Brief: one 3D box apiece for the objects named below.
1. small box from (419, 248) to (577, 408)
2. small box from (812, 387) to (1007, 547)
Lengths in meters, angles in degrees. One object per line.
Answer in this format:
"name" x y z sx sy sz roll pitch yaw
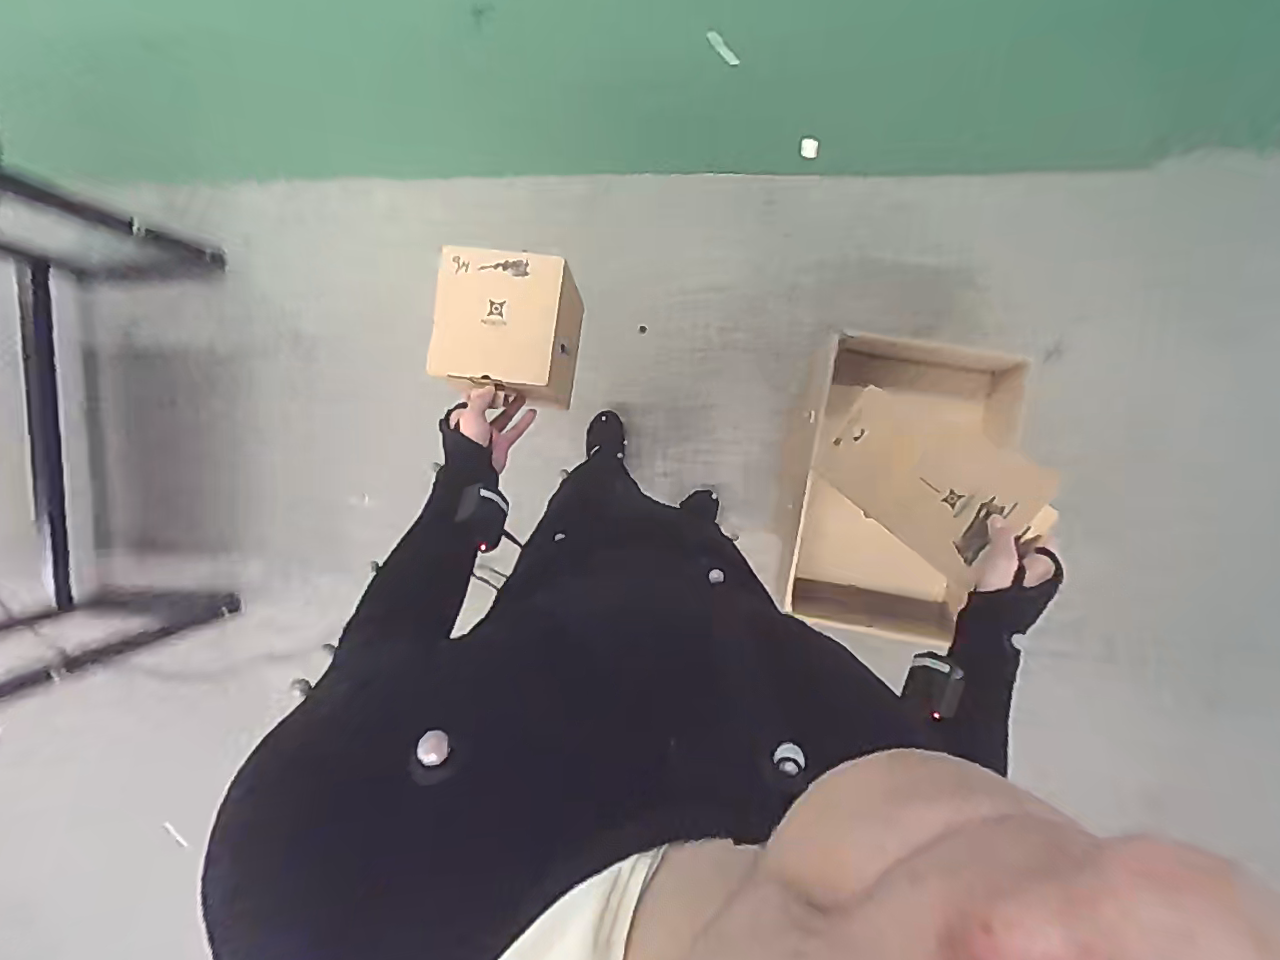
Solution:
"small box" -0.192 -0.206 0.778 0.168 0.176 0.179 7 88 3
"small box" 0.413 -0.025 0.851 0.179 0.176 0.168 23 108 -27
